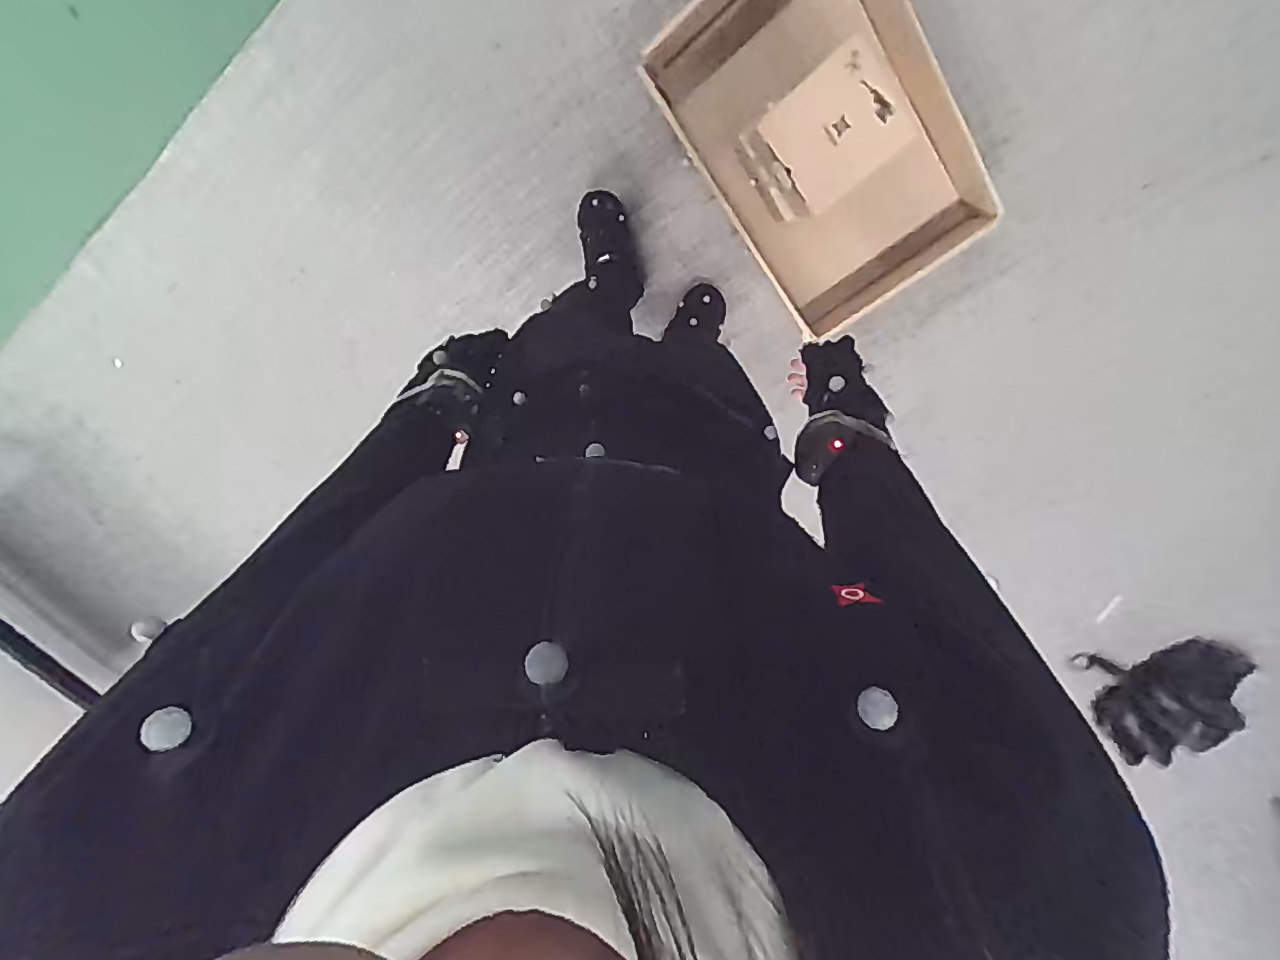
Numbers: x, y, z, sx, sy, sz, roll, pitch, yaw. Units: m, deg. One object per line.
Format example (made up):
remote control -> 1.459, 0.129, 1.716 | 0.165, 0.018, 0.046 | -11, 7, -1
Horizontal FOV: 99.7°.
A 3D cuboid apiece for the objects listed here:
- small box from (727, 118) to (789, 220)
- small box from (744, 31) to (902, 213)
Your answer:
small box -> 0.282, -0.630, 1.041 | 0.168, 0.176, 0.179 | -31, 108, 17
small box -> 0.283, -0.559, 0.877 | 0.179, 0.176, 0.168 | -34, 108, 20
